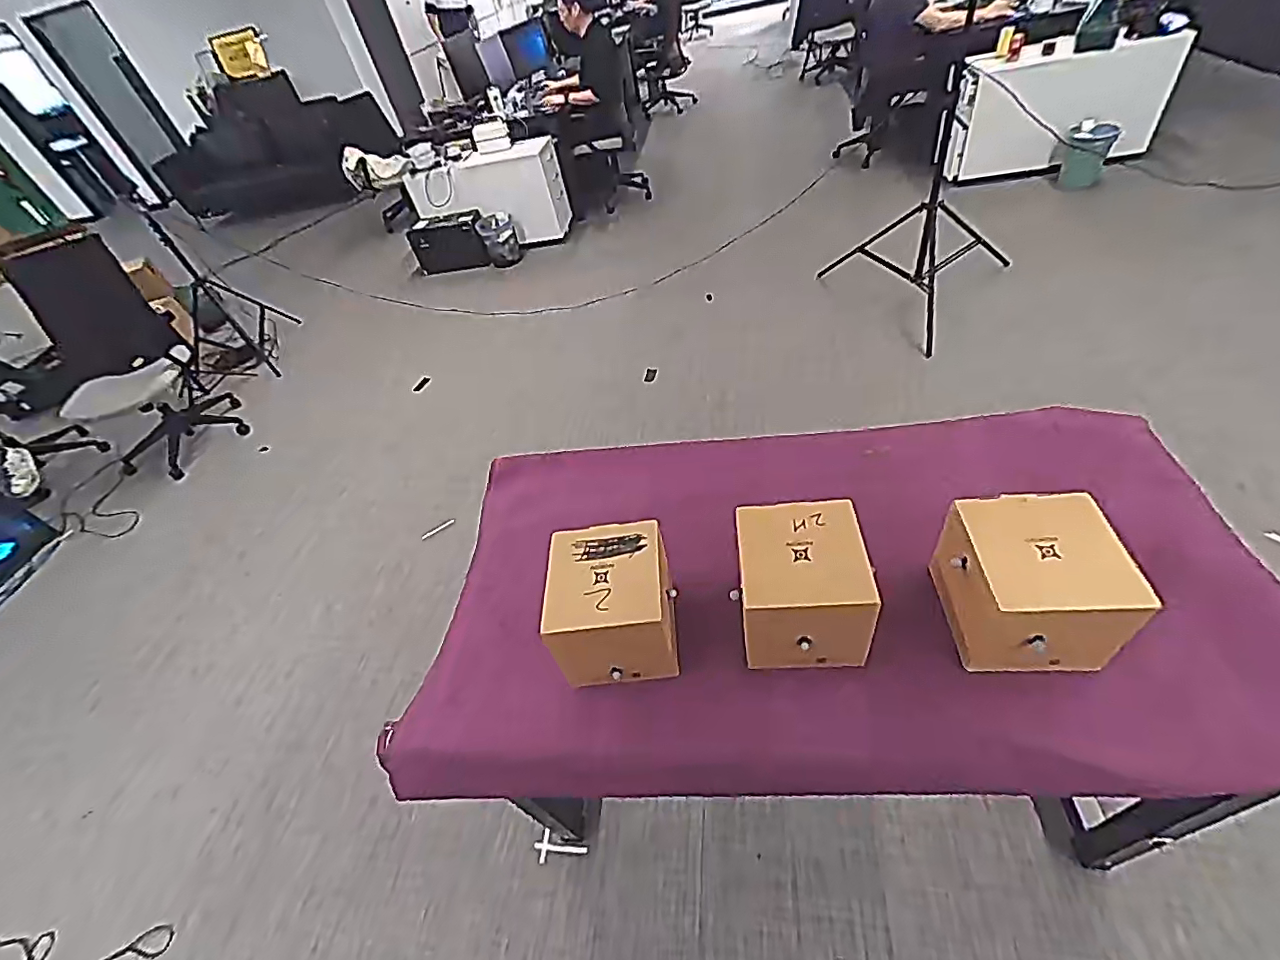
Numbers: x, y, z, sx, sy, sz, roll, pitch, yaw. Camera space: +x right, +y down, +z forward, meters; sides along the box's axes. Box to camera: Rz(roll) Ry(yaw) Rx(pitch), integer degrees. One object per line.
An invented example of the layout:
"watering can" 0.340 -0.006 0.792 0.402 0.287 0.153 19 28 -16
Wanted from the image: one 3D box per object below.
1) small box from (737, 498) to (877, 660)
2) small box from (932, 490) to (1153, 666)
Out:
"small box" 0.232 0.149 0.789 0.168 0.176 0.179 -4 45 9
"small box" 0.518 0.137 0.730 0.168 0.176 0.179 -4 46 11
